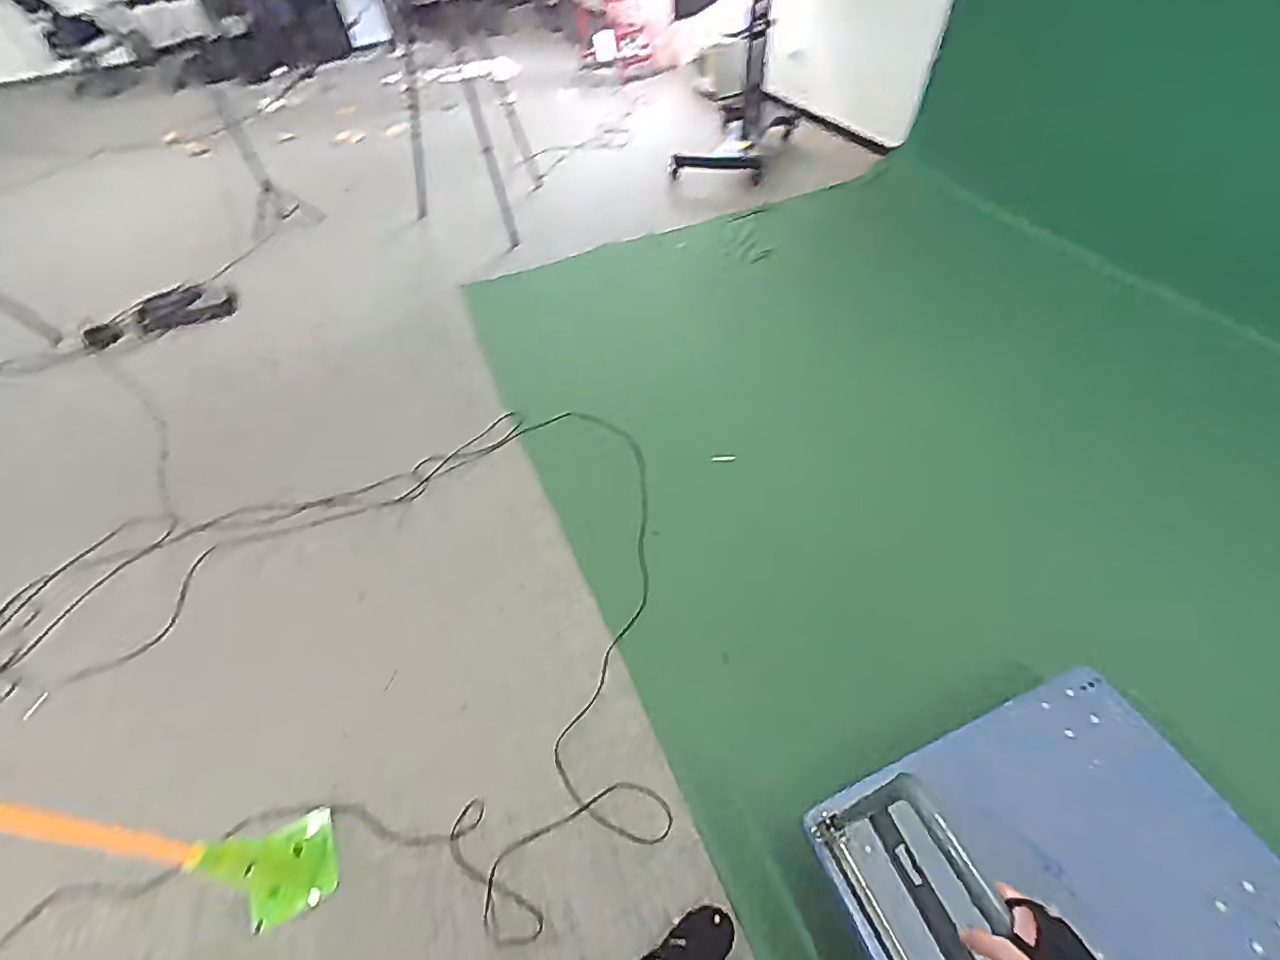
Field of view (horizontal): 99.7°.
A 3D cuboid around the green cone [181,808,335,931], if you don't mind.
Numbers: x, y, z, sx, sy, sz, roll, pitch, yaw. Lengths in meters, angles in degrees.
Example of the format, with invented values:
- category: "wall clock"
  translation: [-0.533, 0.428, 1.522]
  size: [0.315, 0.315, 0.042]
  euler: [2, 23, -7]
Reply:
- category: "green cone"
  translation: [-0.884, 0.856, 1.221]
  size: [0.200, 0.368, 0.202]
  euler: [-25, 52, -15]
